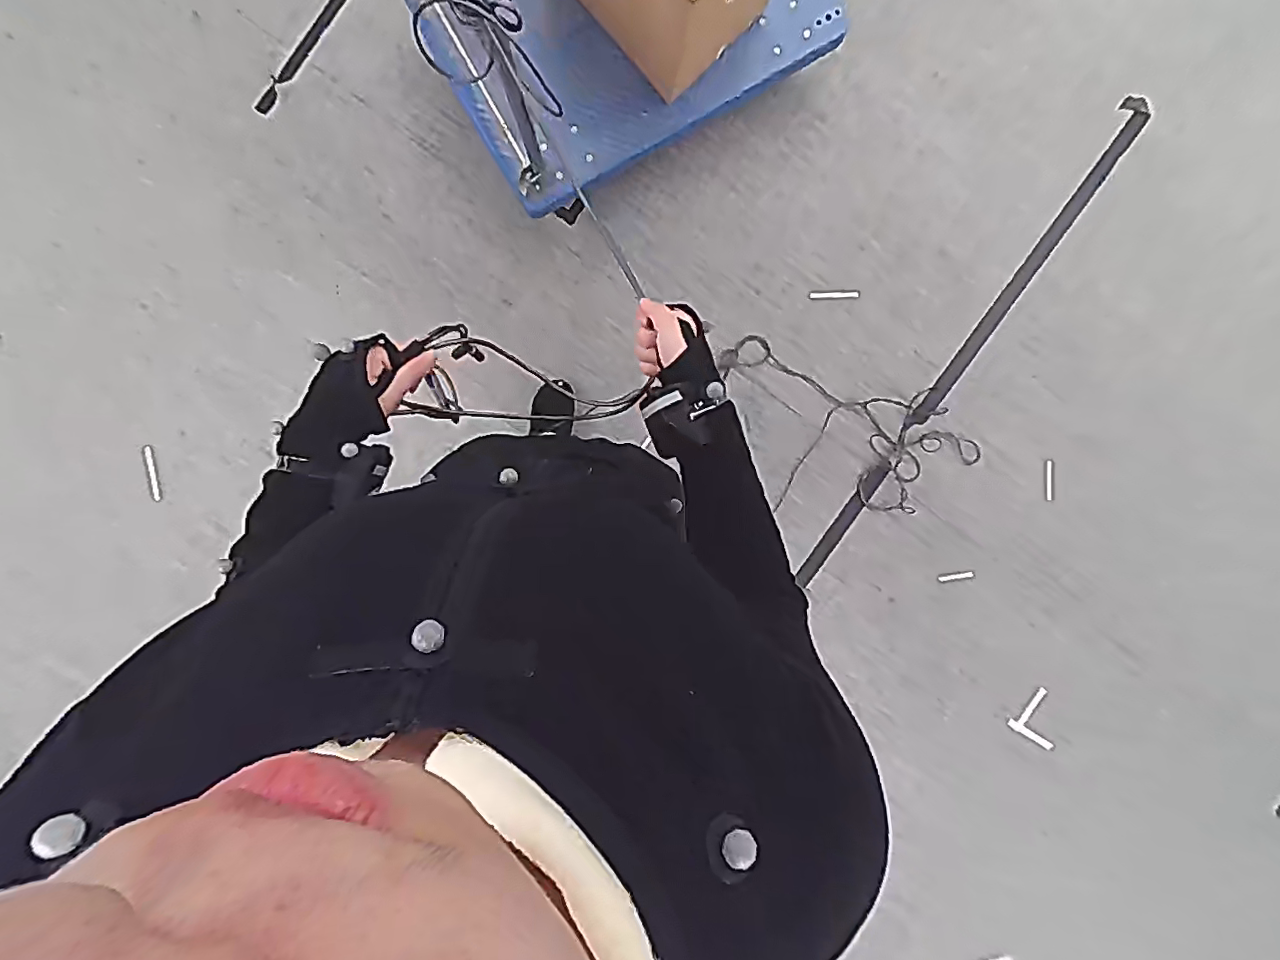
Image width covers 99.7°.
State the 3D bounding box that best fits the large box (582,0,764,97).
[{"bbox_3d":[0.048,-1.088,1.050,0.320,0.320,0.408,-45,99,2],"label":"large box"}]
